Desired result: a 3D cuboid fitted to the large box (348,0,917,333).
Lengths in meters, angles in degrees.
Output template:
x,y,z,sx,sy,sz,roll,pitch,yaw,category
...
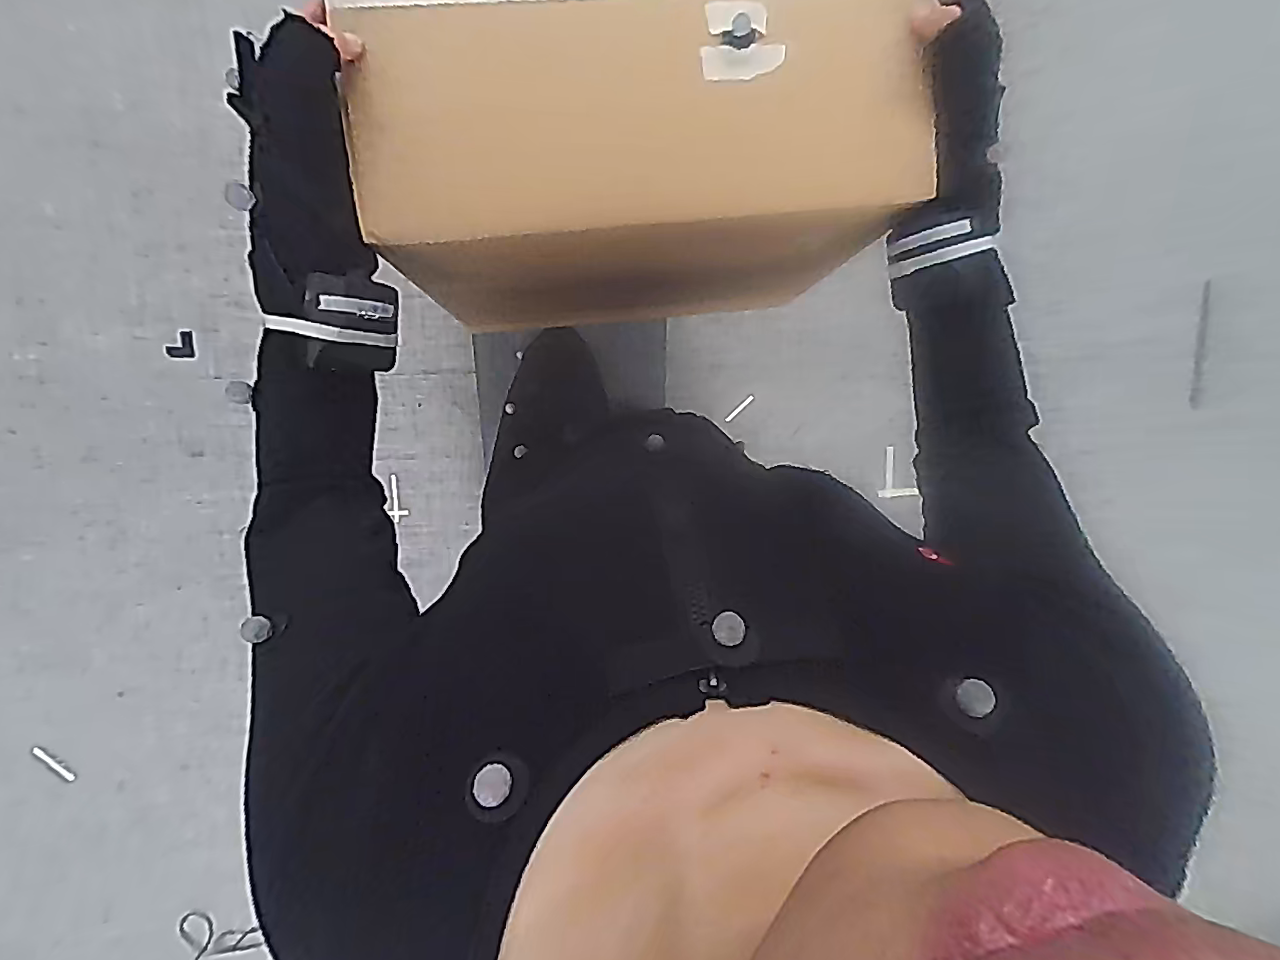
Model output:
x,y,z,sx,sy,sz,roll,pitch,yaw,category
-0.017,-0.350,0.531,0.408,0.320,0.320,-7,94,-4,large box
